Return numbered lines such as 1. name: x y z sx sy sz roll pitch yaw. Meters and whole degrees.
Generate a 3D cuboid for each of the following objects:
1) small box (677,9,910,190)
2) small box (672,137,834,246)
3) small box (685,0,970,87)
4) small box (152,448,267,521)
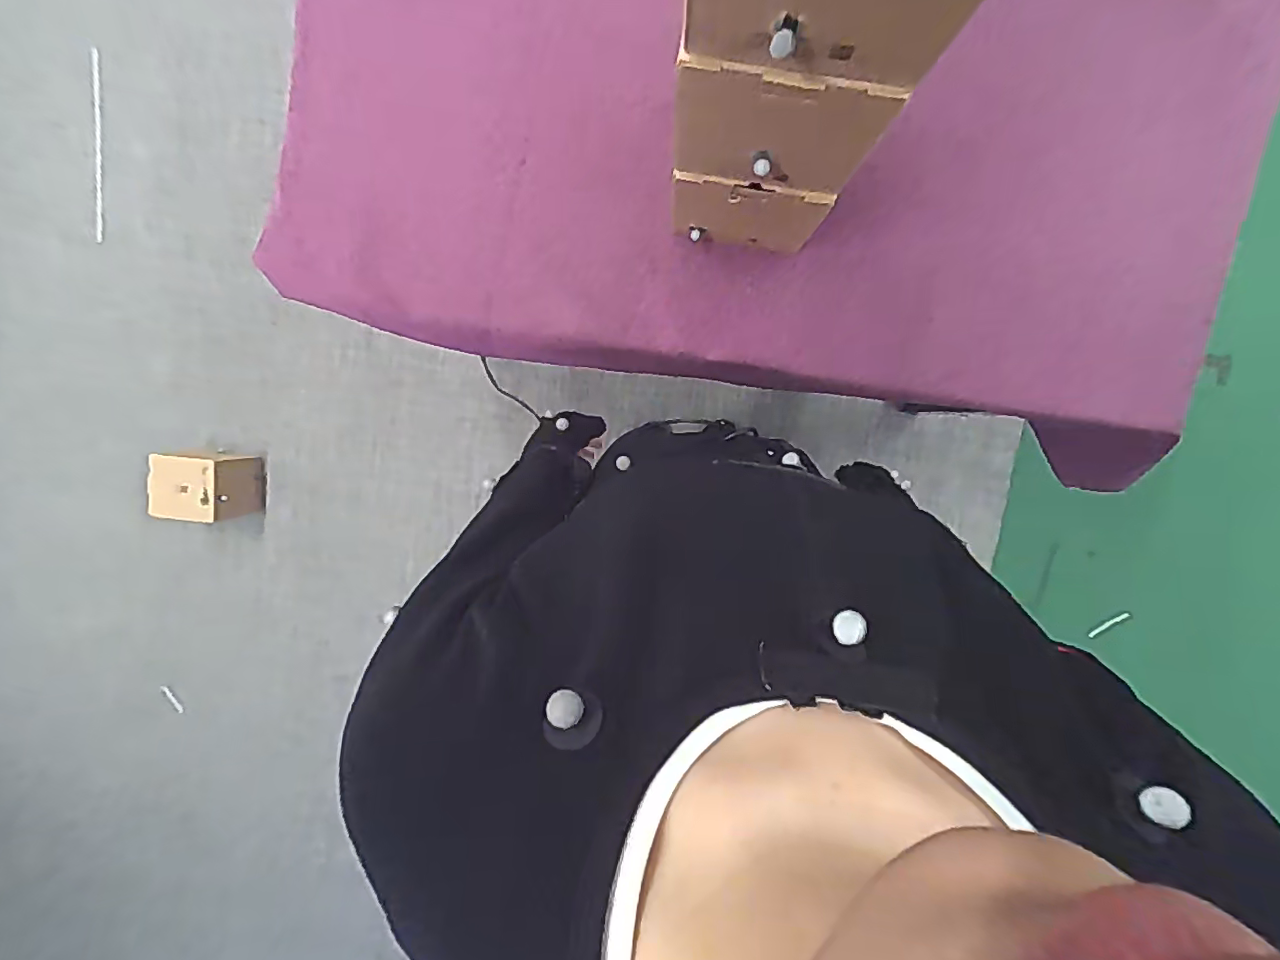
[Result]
1. small box: 0.125 -0.375 0.449 0.168 0.176 0.179 10 97 2
2. small box: 0.133 -0.386 0.612 0.168 0.176 0.179 11 97 2
3. small box: 0.118 -0.361 0.287 0.168 0.176 0.179 10 97 2
4. small box: -1.156 0.006 1.458 0.179 0.176 0.168 7 97 3
